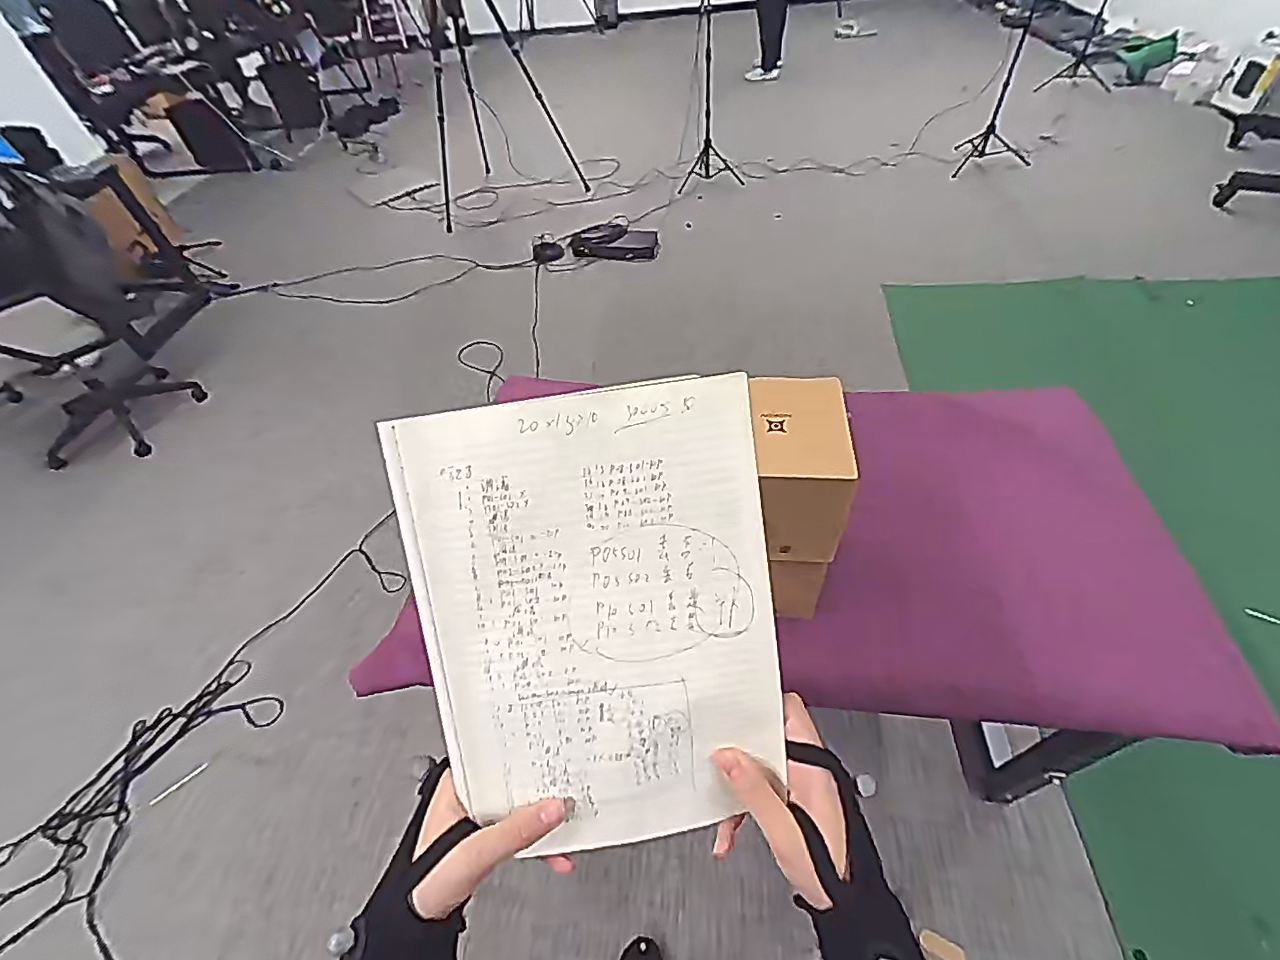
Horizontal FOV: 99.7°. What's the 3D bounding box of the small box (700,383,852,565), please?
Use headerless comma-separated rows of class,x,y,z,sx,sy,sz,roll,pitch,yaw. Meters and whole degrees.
small box,0.166,-0.007,0.701,0.168,0.176,0.179,2,47,8
